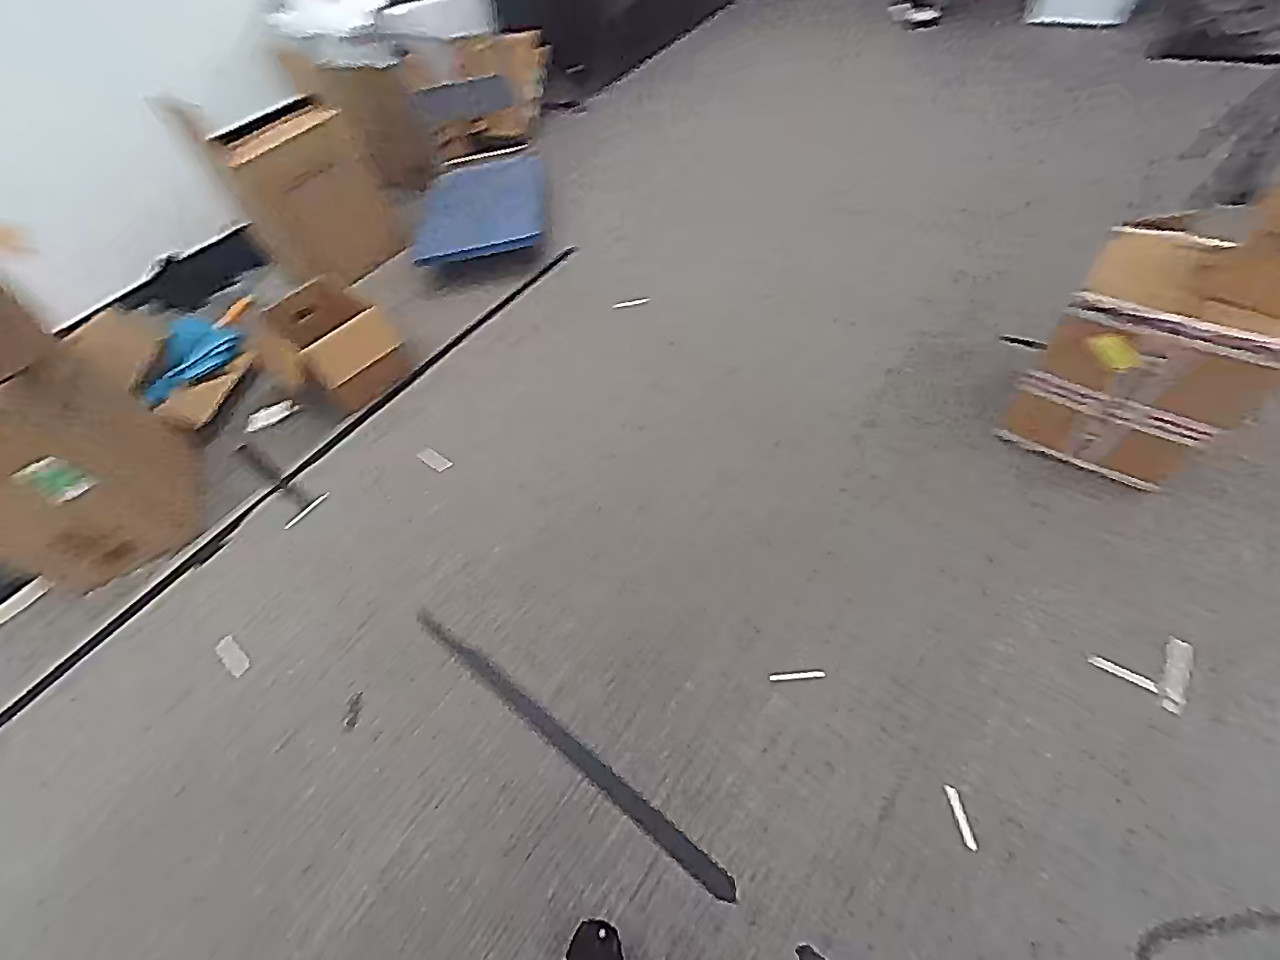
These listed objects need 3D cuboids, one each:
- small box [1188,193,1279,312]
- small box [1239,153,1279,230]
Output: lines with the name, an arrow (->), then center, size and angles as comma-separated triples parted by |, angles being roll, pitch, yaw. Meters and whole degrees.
small box -> 1.271, -0.466, 1.081 | 0.179, 0.176, 0.168 | 34, 68, 27
small box -> 1.228, -0.542, 0.939 | 0.179, 0.176, 0.168 | 31, 67, 26
